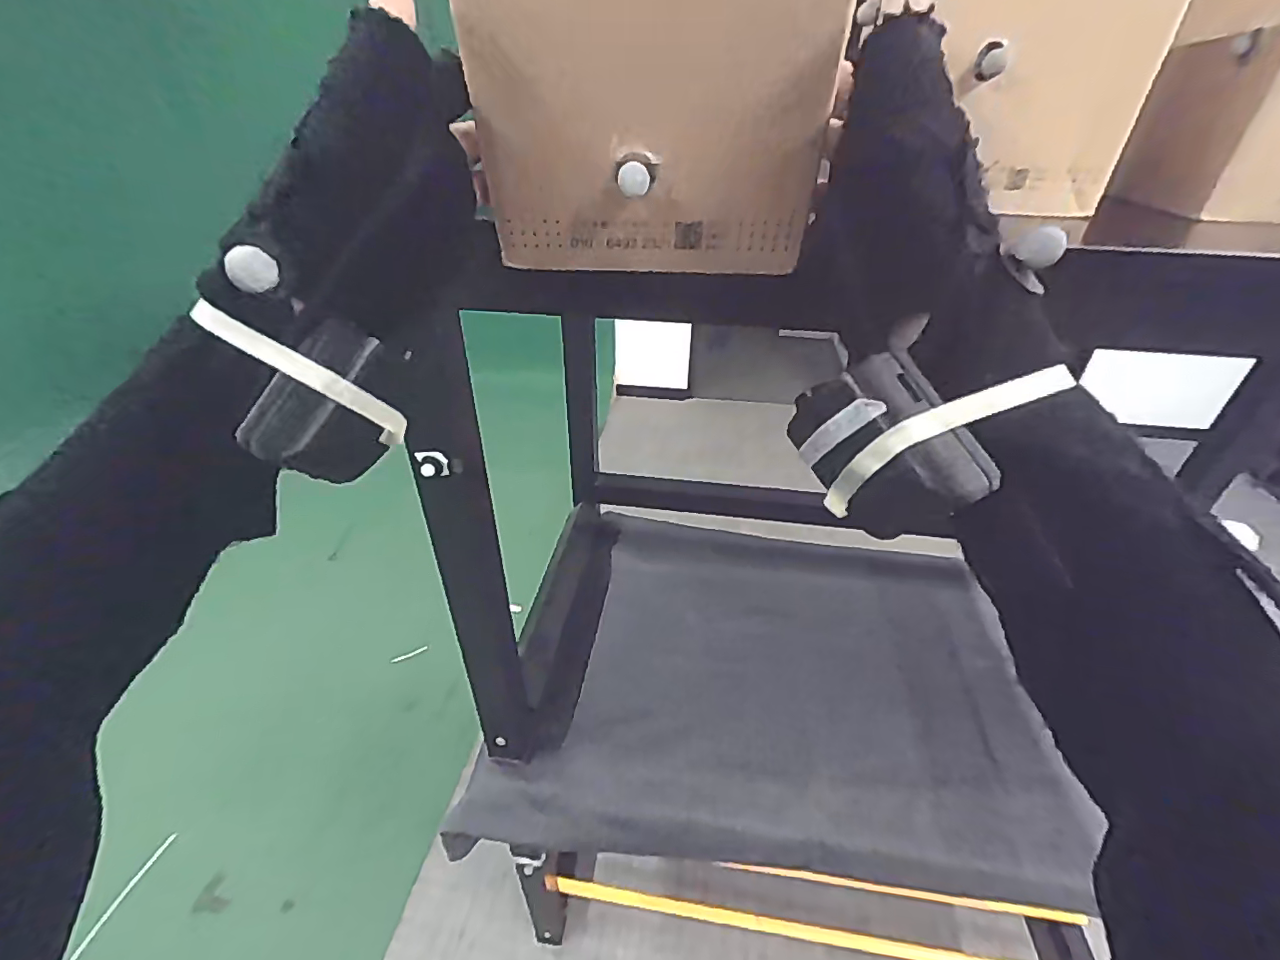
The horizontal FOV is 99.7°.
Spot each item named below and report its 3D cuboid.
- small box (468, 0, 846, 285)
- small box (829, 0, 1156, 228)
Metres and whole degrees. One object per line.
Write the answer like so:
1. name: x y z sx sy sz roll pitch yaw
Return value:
1. small box: 0.009 -0.233 0.310 0.168 0.176 0.179 2 48 3
2. small box: 0.263 -0.311 0.444 0.168 0.176 0.179 6 34 7
